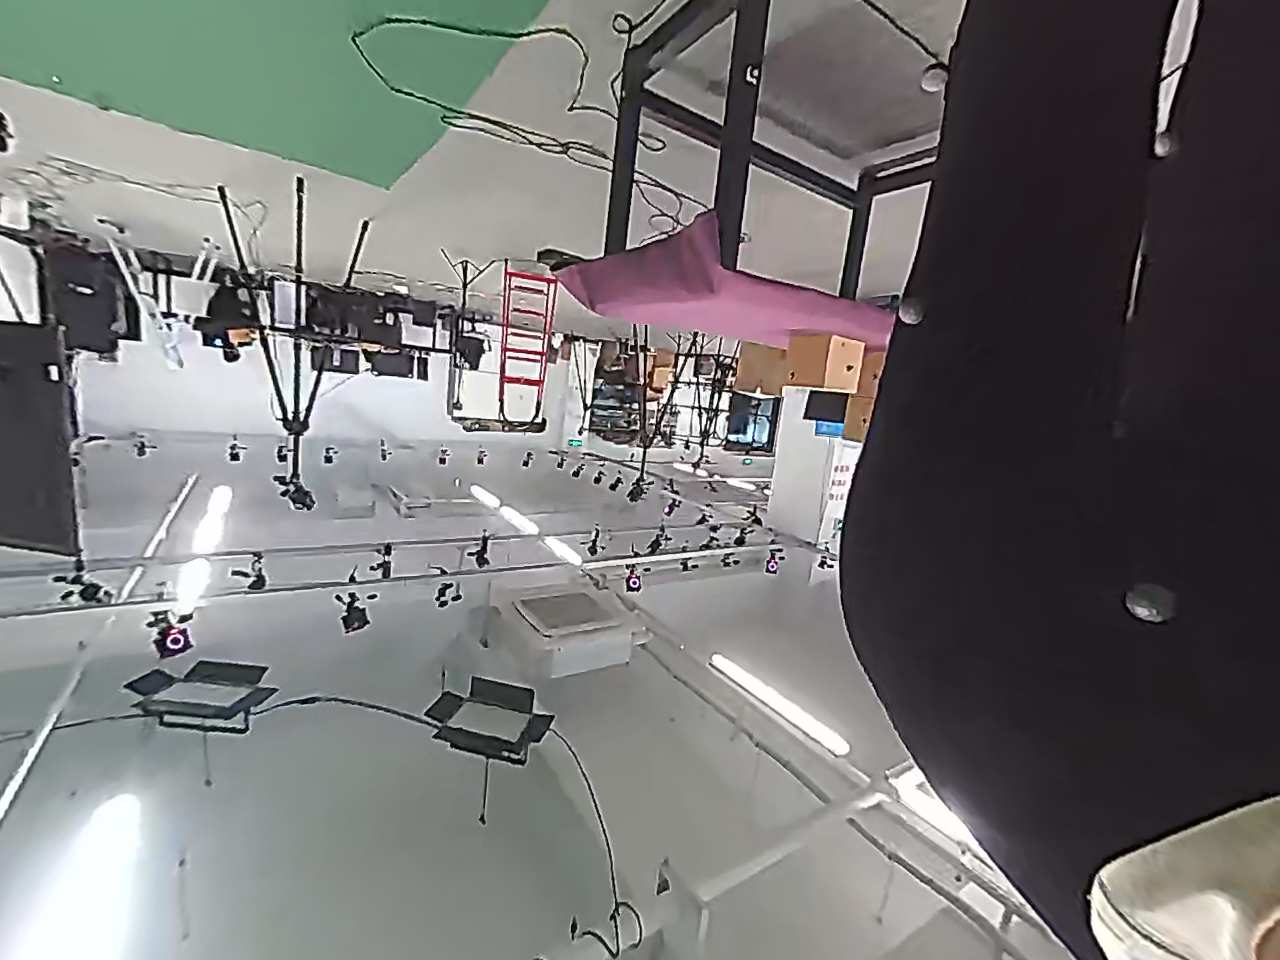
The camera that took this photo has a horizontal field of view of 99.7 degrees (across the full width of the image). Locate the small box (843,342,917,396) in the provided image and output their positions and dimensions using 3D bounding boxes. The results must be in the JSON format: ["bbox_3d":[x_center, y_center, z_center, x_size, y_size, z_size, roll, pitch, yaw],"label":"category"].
[{"bbox_3d":[0.873,-0.403,1.961,0.168,0.176,0.179,0,-169,-33],"label":"small box"}]

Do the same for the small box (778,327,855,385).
[{"bbox_3d":[0.576,-0.403,1.757,0.168,0.176,0.179,-1,-168,-33],"label":"small box"}]
